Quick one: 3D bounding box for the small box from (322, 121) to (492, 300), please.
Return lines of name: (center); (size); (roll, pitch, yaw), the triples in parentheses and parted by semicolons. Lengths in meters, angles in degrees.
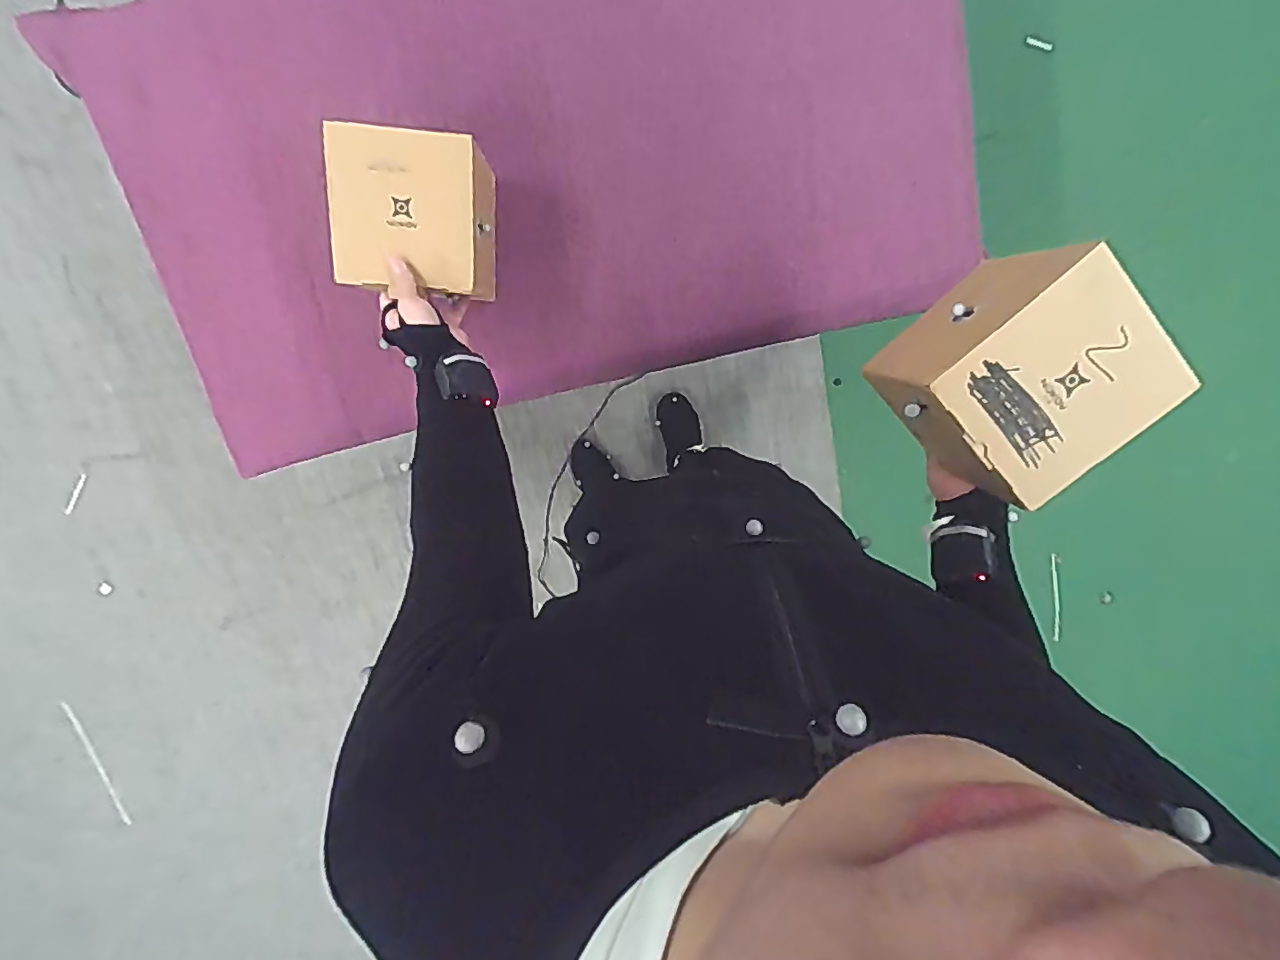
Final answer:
small box: (-0.292, -0.337, 0.714); (0.168, 0.176, 0.179); (3, 105, -7)
